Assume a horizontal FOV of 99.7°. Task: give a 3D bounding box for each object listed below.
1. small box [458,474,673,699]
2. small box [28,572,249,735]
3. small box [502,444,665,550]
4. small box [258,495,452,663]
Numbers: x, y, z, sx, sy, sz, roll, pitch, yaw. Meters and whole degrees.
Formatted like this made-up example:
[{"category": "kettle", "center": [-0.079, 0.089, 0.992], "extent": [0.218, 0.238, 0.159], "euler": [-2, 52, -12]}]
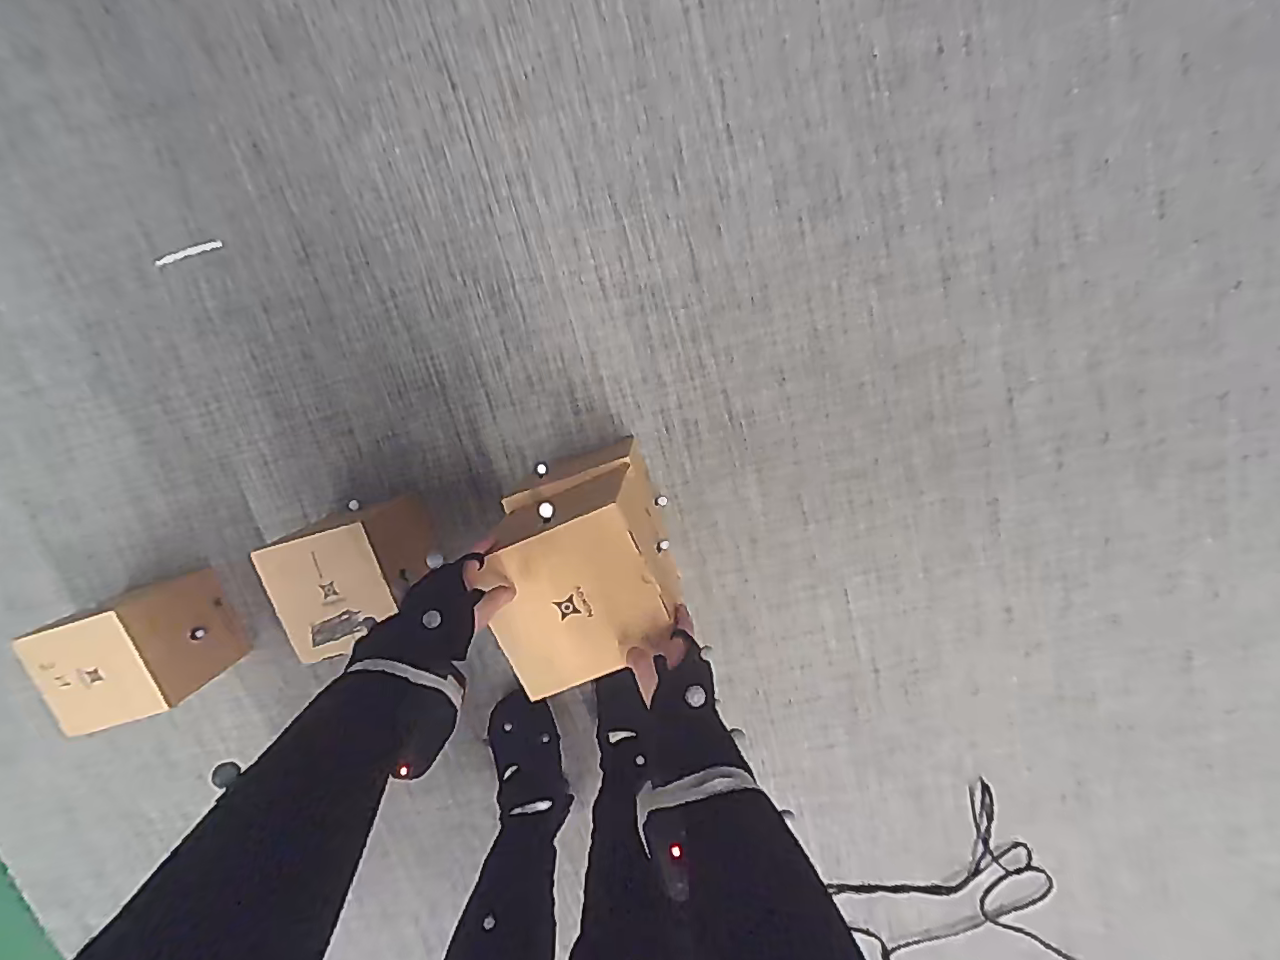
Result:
[{"category": "small box", "center": [-0.070, 0.110, 0.622], "extent": [0.179, 0.176, 0.168], "euler": [-23, 102, 8]}, {"category": "small box", "center": [-0.776, 0.266, 0.865], "extent": [0.179, 0.176, 0.168], "euler": [-16, 101, 7]}, {"category": "small box", "center": [-0.068, 0.059, 0.777], "extent": [0.179, 0.176, 0.168], "euler": [-18, 102, 7]}, {"category": "small box", "center": [-0.411, 0.141, 0.814], "extent": [0.168, 0.176, 0.179], "euler": [-16, 101, 7]}]
